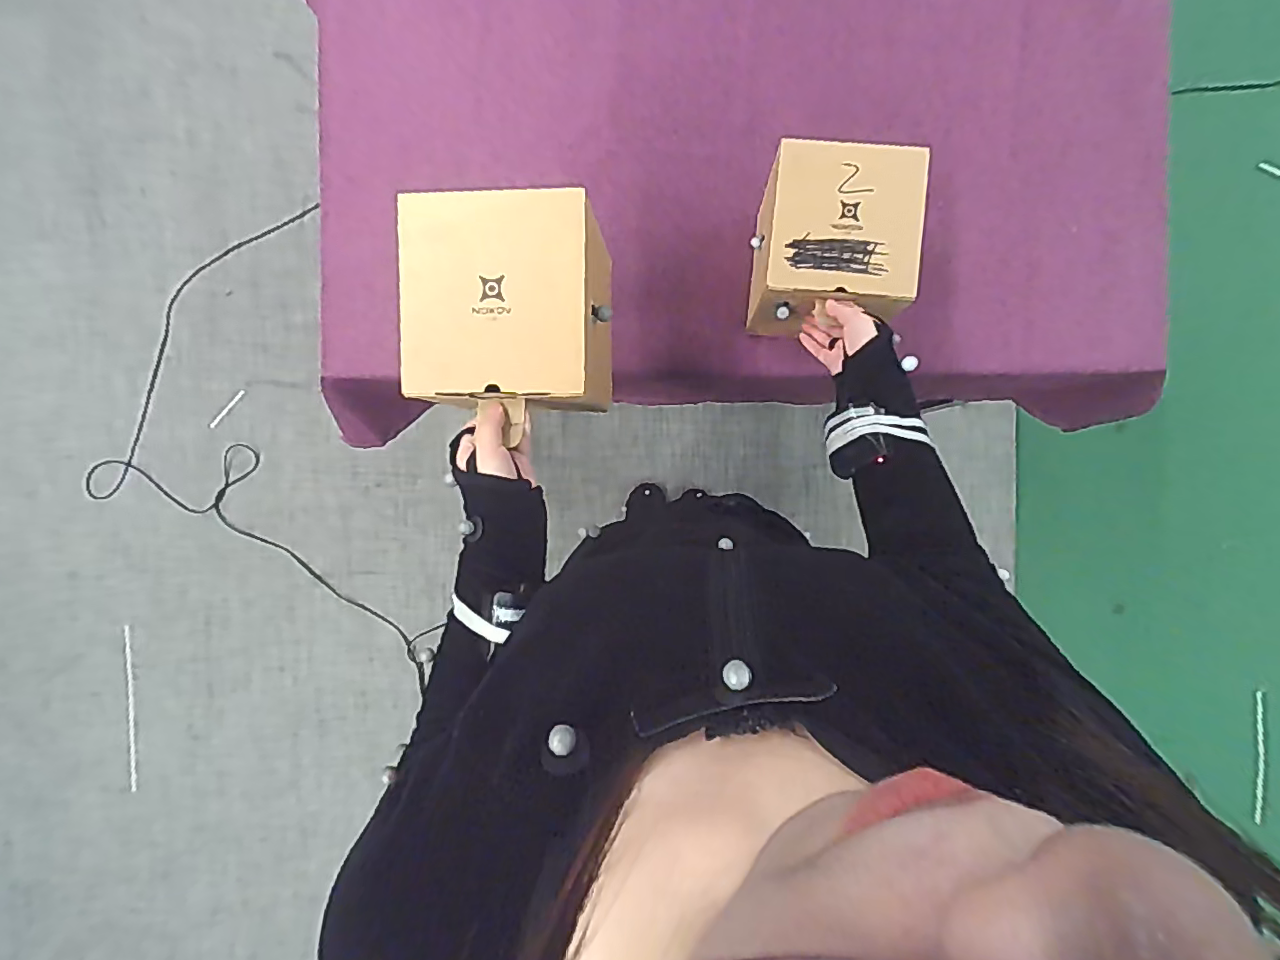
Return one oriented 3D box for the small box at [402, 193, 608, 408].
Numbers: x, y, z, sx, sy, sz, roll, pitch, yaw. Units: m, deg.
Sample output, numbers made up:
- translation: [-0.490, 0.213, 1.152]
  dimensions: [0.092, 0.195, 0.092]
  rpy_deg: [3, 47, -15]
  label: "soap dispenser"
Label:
- translation: [-0.127, -0.169, 0.560]
  dimensions: [0.168, 0.176, 0.179]
  rpy_deg: [1, 94, 4]
  label: "small box"
